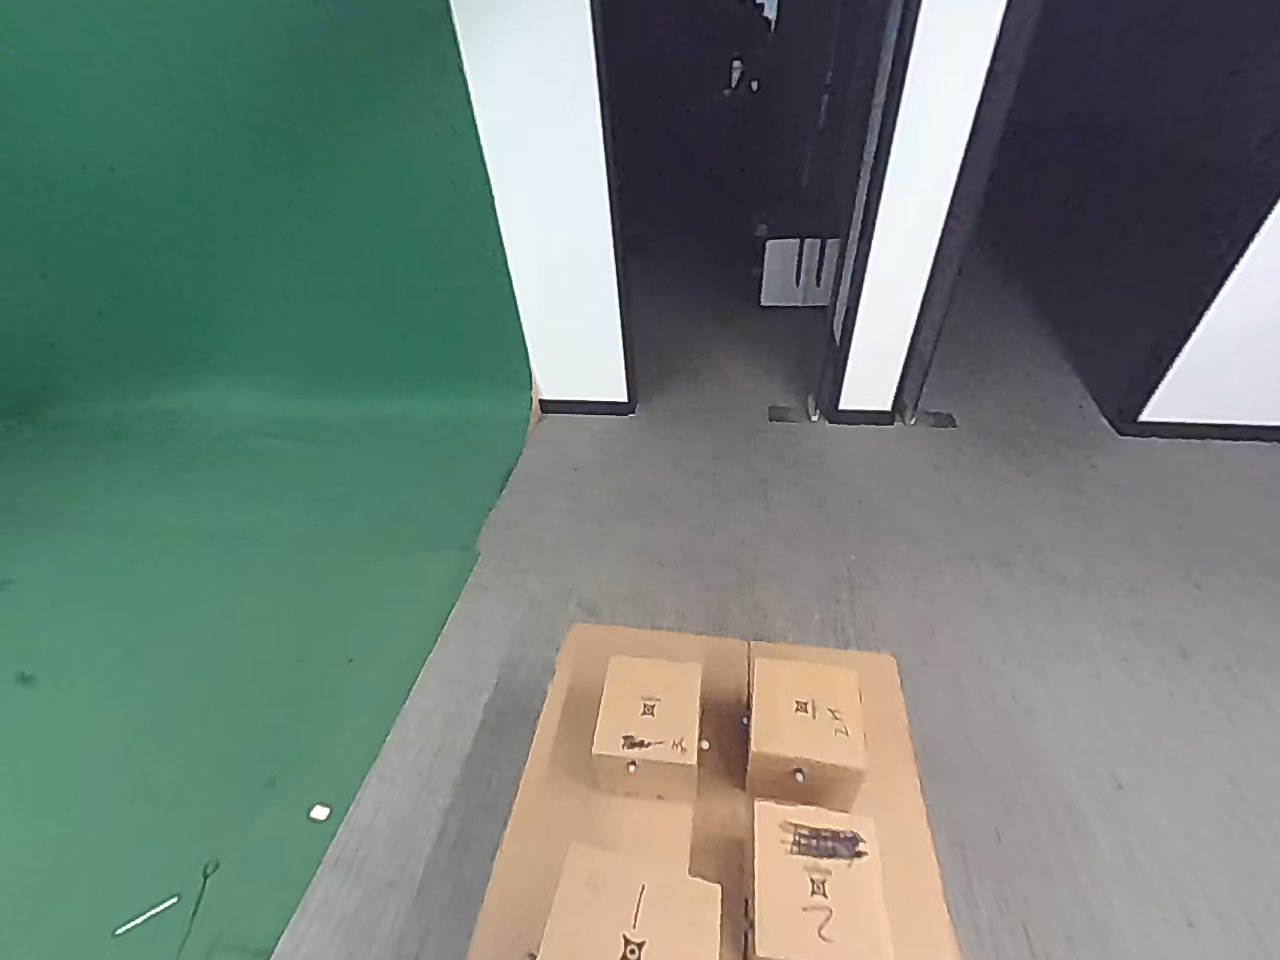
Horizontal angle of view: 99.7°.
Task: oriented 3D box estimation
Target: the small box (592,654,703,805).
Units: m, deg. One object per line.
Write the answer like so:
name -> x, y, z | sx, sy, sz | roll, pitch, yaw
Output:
small box -> 0.023, 0.432, 0.943 | 0.168, 0.176, 0.179 | 1, 39, 10

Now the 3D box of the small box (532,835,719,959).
small box -> -0.024, 0.503, 0.528 | 0.168, 0.176, 0.179 | 13, 25, 5
